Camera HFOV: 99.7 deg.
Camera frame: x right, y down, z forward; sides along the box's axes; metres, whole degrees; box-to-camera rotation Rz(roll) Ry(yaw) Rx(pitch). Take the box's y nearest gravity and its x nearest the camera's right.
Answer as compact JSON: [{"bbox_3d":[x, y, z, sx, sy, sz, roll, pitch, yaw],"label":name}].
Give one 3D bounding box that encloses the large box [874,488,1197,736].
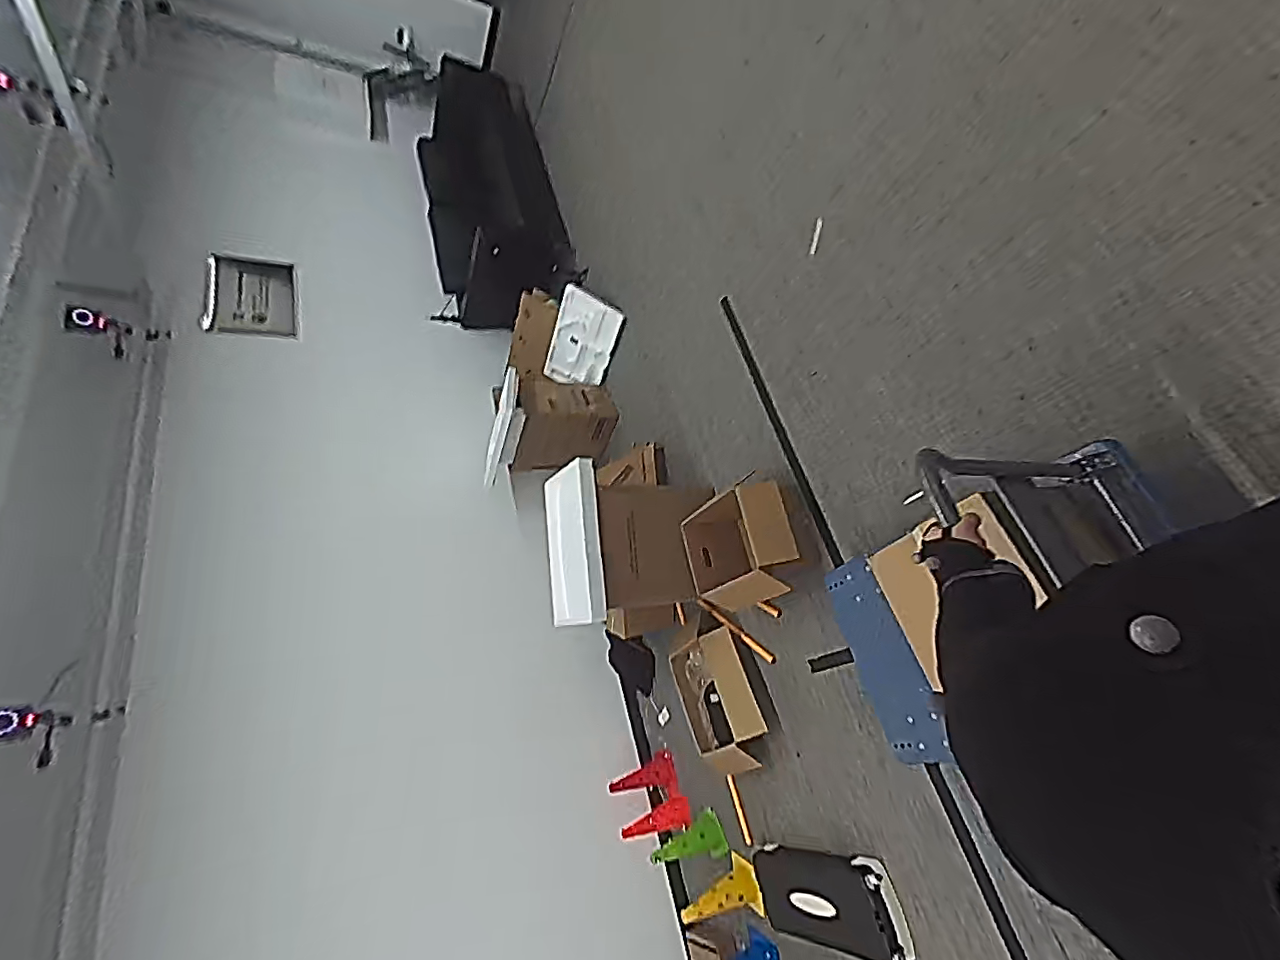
[{"bbox_3d":[0.791,0.265,1.130,0.320,0.320,0.408,-54,46,48],"label":"large box"}]
